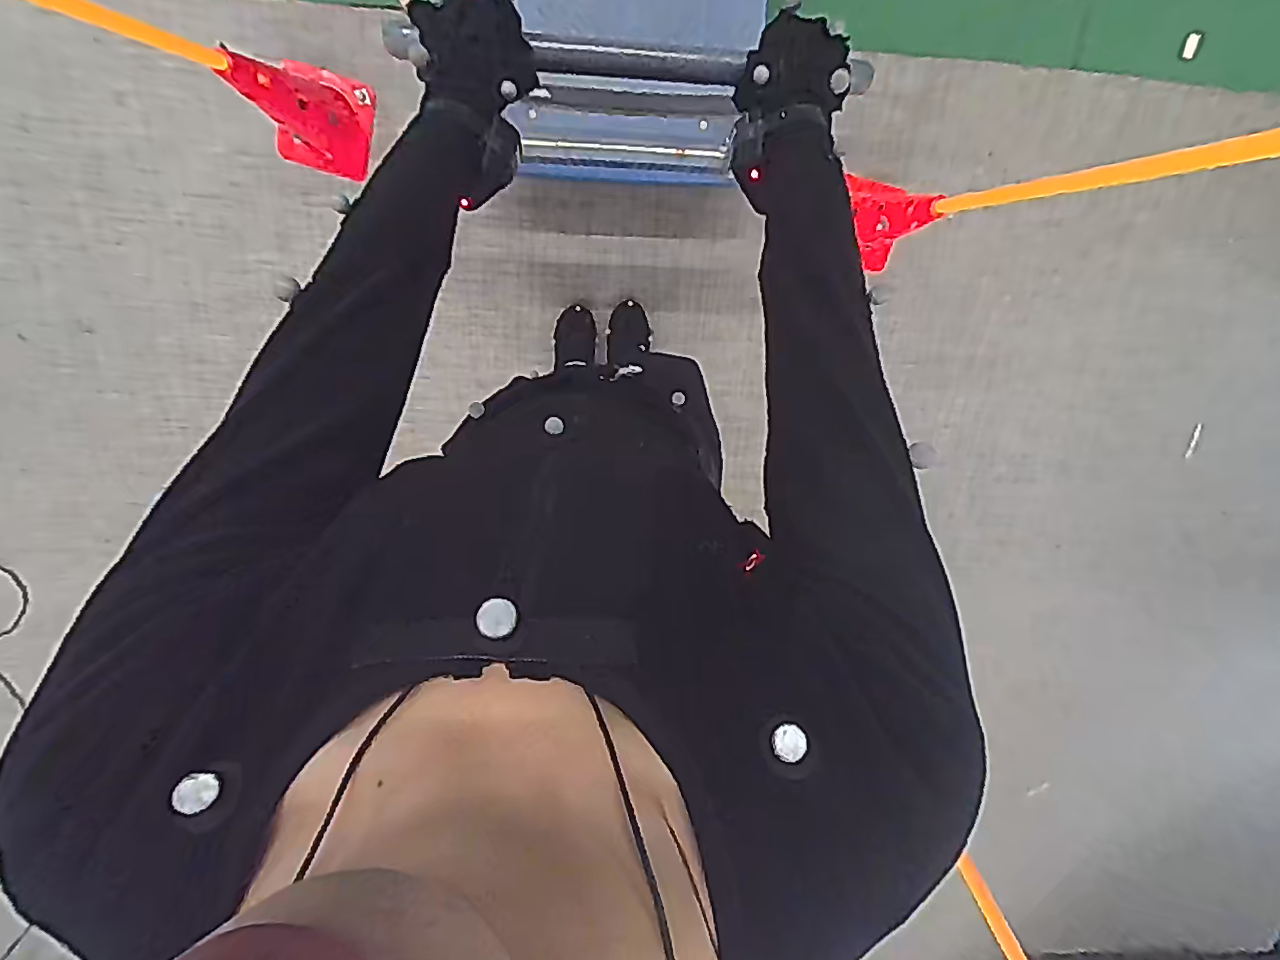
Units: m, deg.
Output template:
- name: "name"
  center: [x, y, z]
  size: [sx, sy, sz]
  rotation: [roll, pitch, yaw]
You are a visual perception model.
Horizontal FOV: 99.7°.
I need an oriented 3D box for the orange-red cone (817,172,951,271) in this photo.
- name: "orange-red cone"
  center: [0.570, -0.588, 1.198]
  size: [0.198, 0.360, 0.199]
  rotation: [13, 109, -7]
